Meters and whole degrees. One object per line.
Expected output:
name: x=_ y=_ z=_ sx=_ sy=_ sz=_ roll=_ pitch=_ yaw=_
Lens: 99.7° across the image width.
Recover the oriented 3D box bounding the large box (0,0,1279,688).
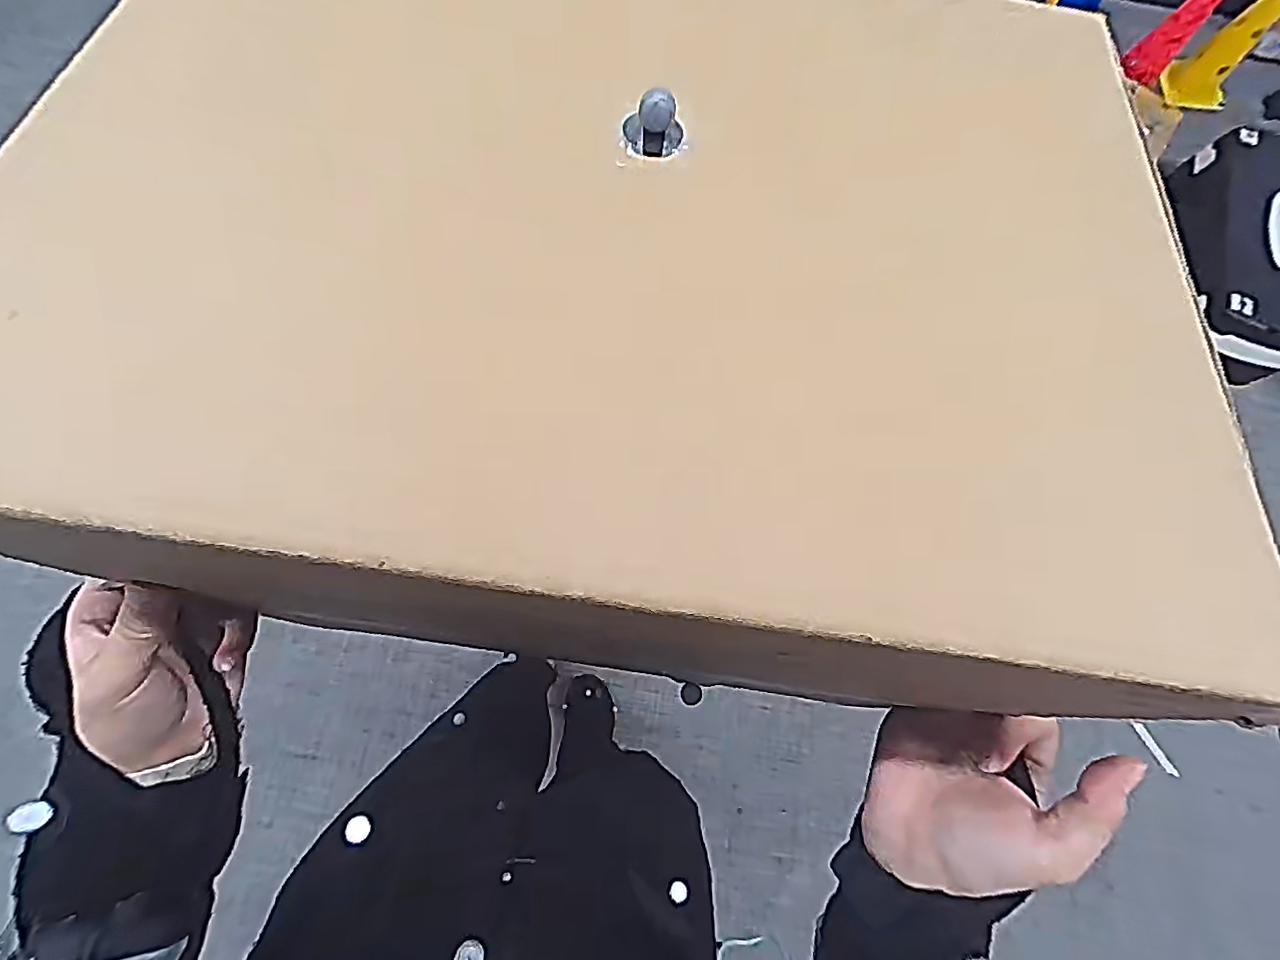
large box: x=-0.011 y=-0.068 z=0.333 sx=0.408 sy=0.320 sz=0.320 roll=9 pitch=69 yaw=-2
